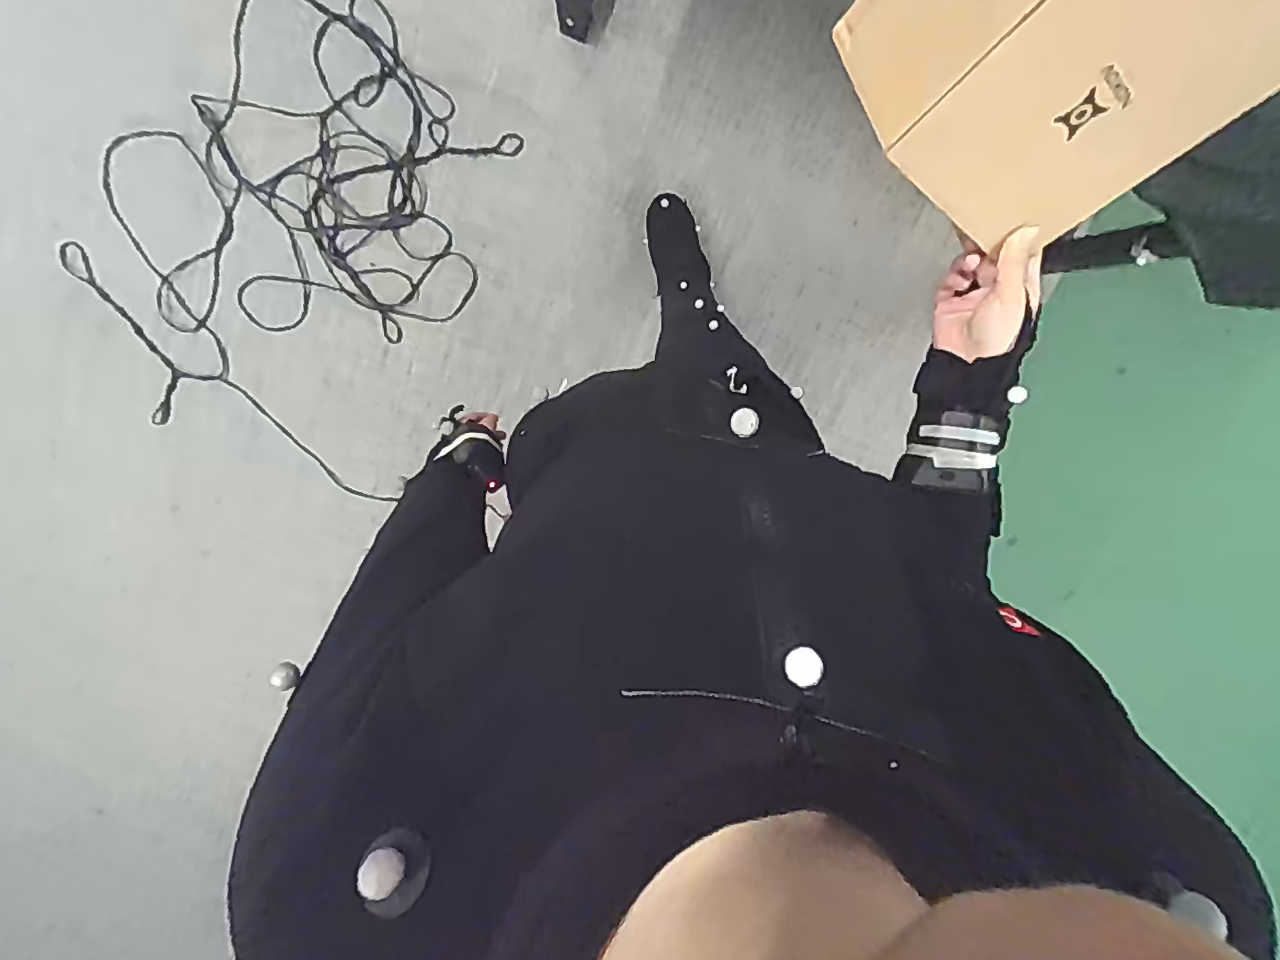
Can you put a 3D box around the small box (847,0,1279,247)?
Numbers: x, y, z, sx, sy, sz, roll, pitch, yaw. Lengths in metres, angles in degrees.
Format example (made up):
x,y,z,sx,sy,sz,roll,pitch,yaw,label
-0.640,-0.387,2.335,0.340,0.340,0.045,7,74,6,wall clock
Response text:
x,y,z,sx,sy,sz,roll,pitch,yaw,label
0.260,-0.303,0.353,0.168,0.176,0.179,16,143,-30,small box

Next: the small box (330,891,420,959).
x,y,z,sx,sy,sz,roll,pitch,yaw,label
-0.668,1.183,1.346,0.168,0.176,0.179,18,101,-8,small box
